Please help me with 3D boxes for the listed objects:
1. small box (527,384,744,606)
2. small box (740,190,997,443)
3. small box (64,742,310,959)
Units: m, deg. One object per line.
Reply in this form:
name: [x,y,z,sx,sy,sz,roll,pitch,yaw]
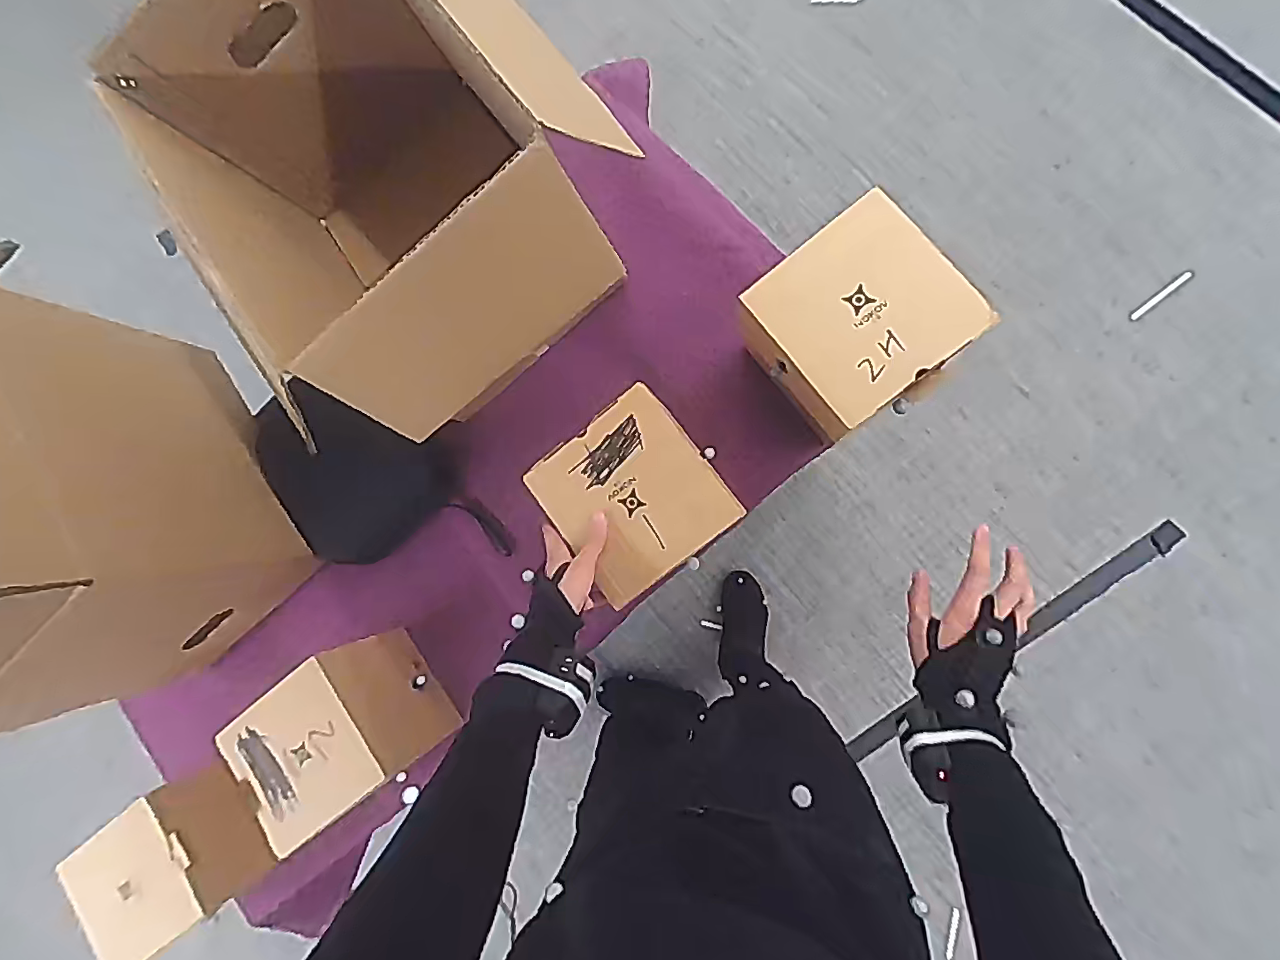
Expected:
small box: [0.005,0.019,0.633,0.168,0.176,0.179,-38,81,9]
small box: [0.228,-0.158,0.590,0.168,0.176,0.179,-38,80,9]
small box: [-0.611,0.505,0.747,0.179,0.176,0.168,-38,80,7]
